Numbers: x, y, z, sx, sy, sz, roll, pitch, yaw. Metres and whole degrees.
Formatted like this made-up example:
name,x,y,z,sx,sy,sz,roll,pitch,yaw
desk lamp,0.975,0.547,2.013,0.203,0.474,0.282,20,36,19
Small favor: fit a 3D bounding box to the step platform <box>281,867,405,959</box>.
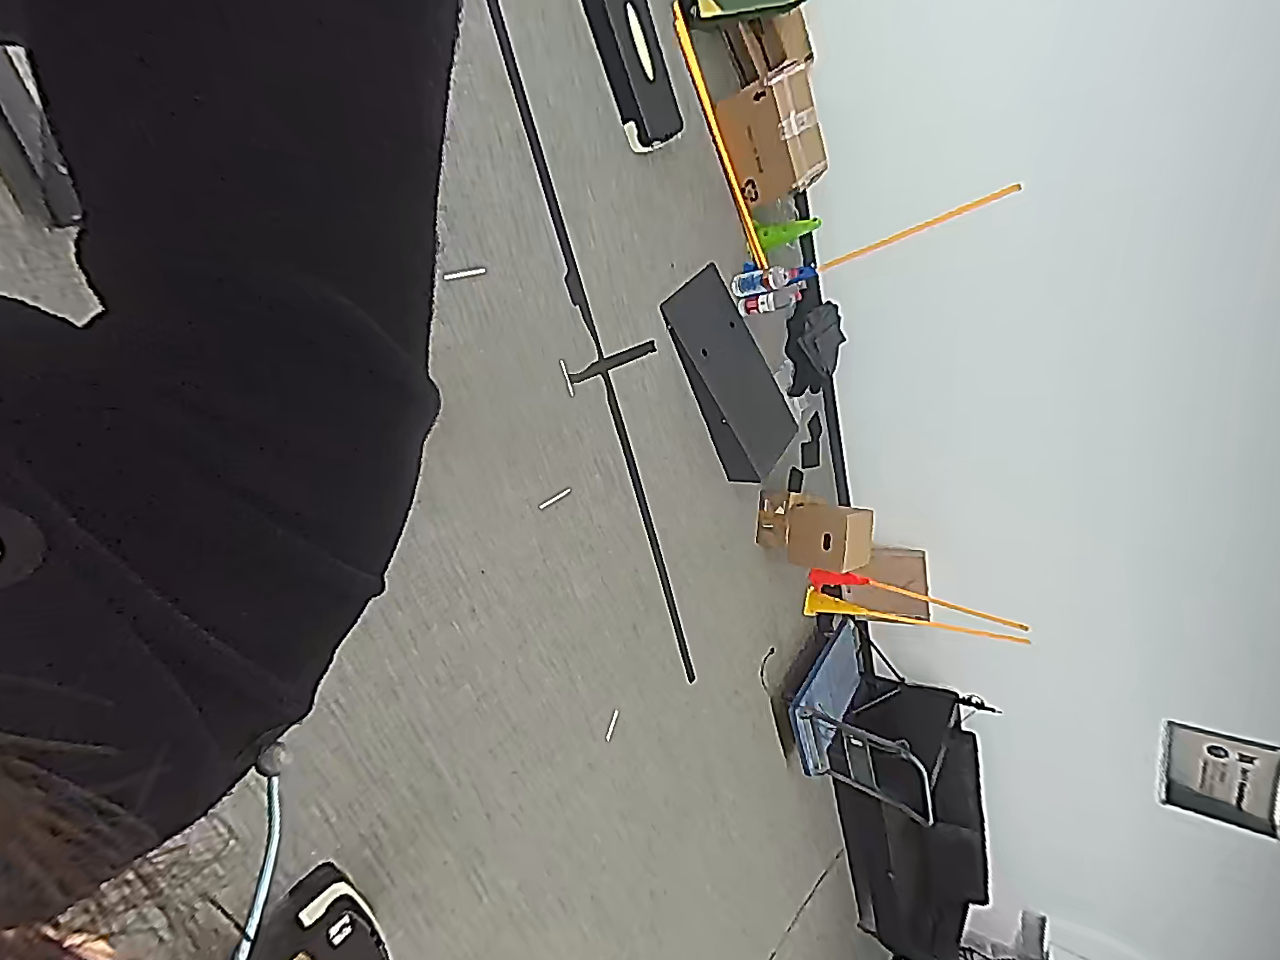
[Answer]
name,x,y,z,sx,sy,sz,roll,pitch,yaw
step platform,-0.898,1.271,1.214,0.684,0.204,0.286,-27,111,-45
